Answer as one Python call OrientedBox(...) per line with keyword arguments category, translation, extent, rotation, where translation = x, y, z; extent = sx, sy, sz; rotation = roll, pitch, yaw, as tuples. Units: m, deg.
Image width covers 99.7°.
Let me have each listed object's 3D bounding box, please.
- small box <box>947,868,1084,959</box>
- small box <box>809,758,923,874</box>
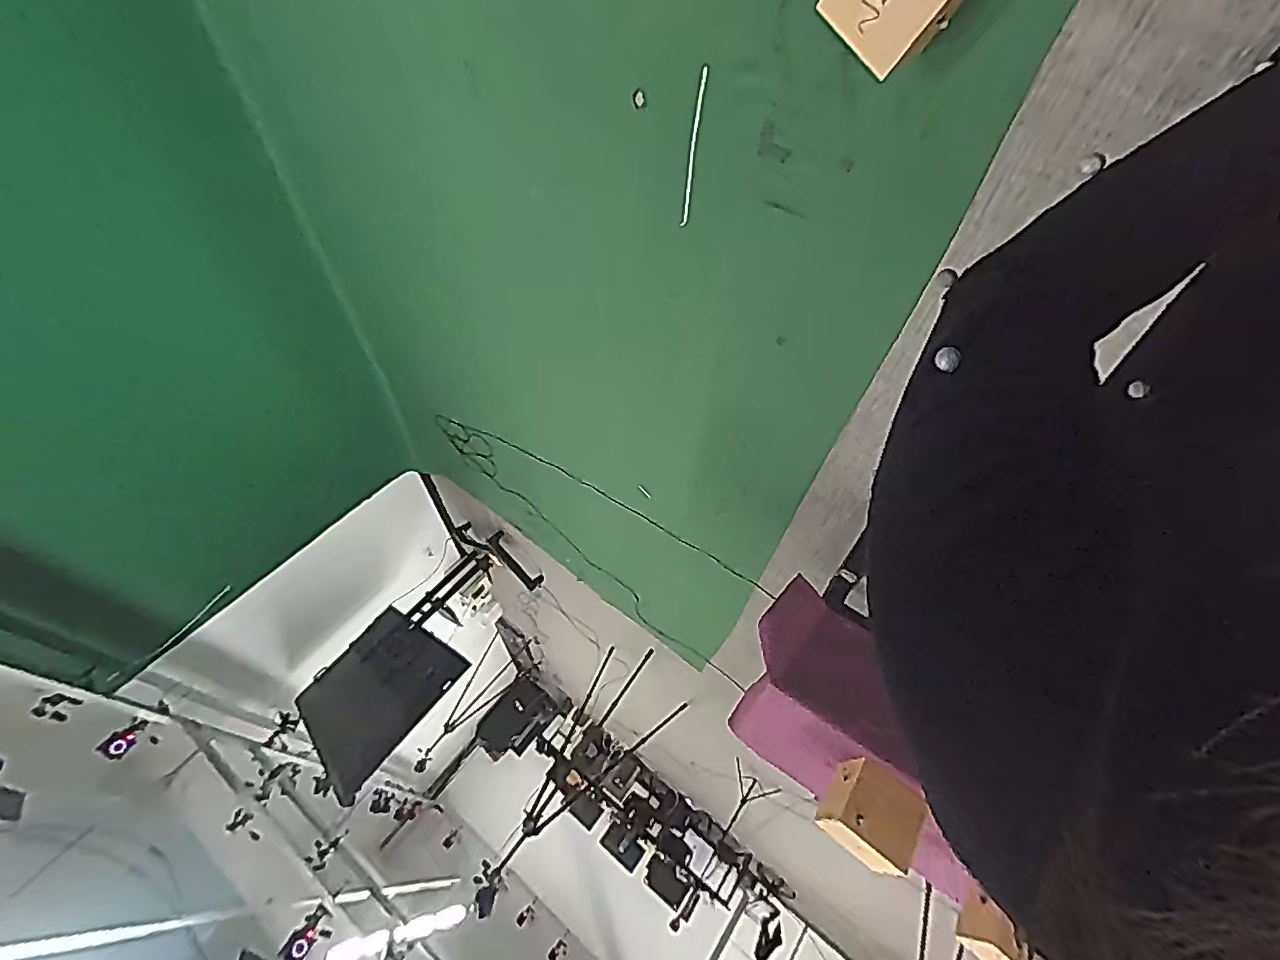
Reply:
OrientedBox(category="small box", translation=(0.842, 1.014, 1.218), extent=(0.179, 0.176, 0.168), rotation=(33, 150, 18))
OrientedBox(category="small box", translation=(0.555, 0.817, 1.326), extent=(0.179, 0.176, 0.168), rotation=(36, 150, 15))
